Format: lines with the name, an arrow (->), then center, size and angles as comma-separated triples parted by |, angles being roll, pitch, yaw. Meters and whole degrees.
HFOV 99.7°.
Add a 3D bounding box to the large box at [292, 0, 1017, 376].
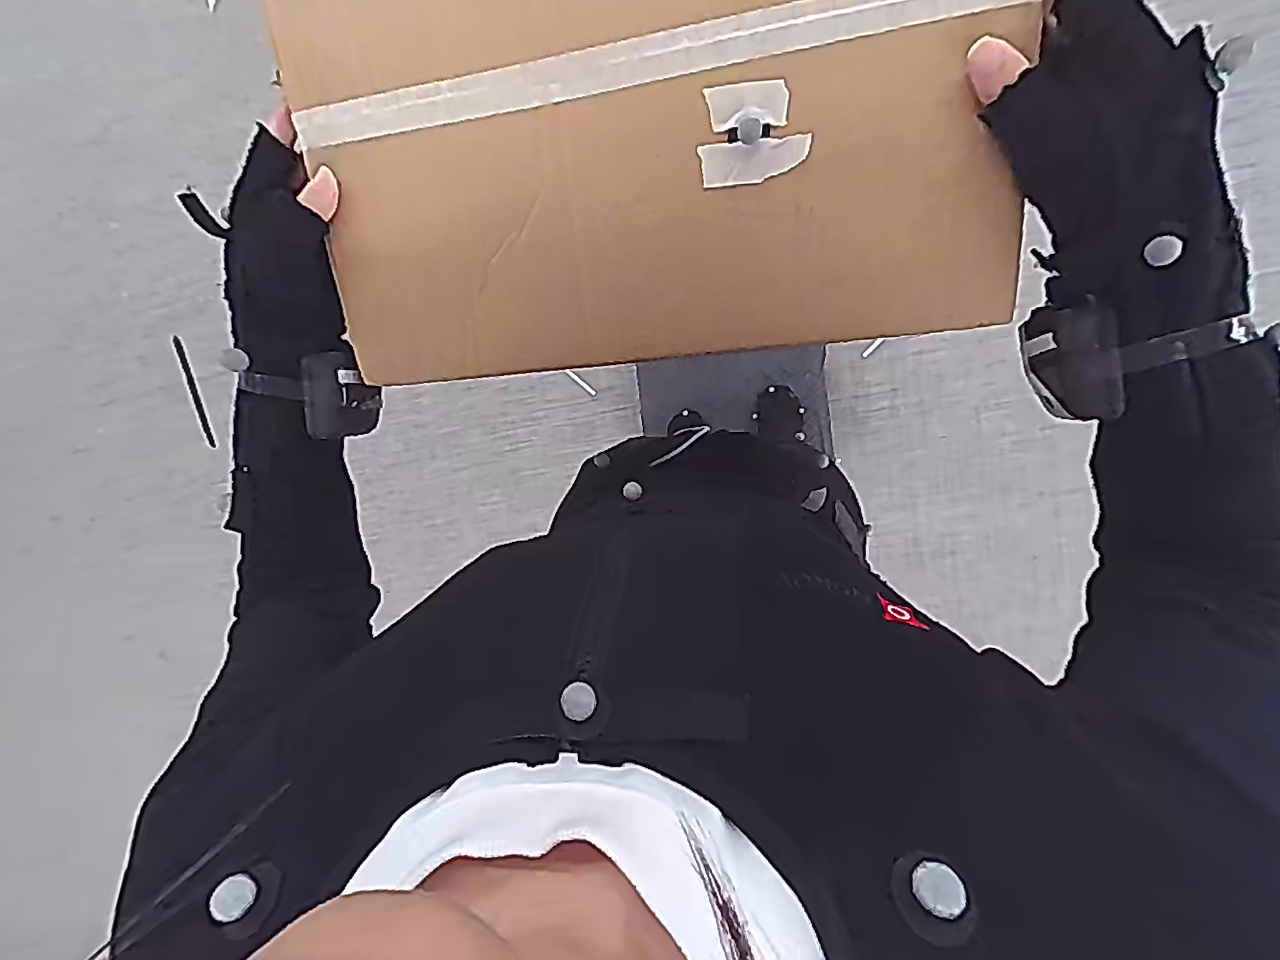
large box -> 0.016, -0.277, 0.445 | 0.408, 0.320, 0.320 | -4, 107, 10
